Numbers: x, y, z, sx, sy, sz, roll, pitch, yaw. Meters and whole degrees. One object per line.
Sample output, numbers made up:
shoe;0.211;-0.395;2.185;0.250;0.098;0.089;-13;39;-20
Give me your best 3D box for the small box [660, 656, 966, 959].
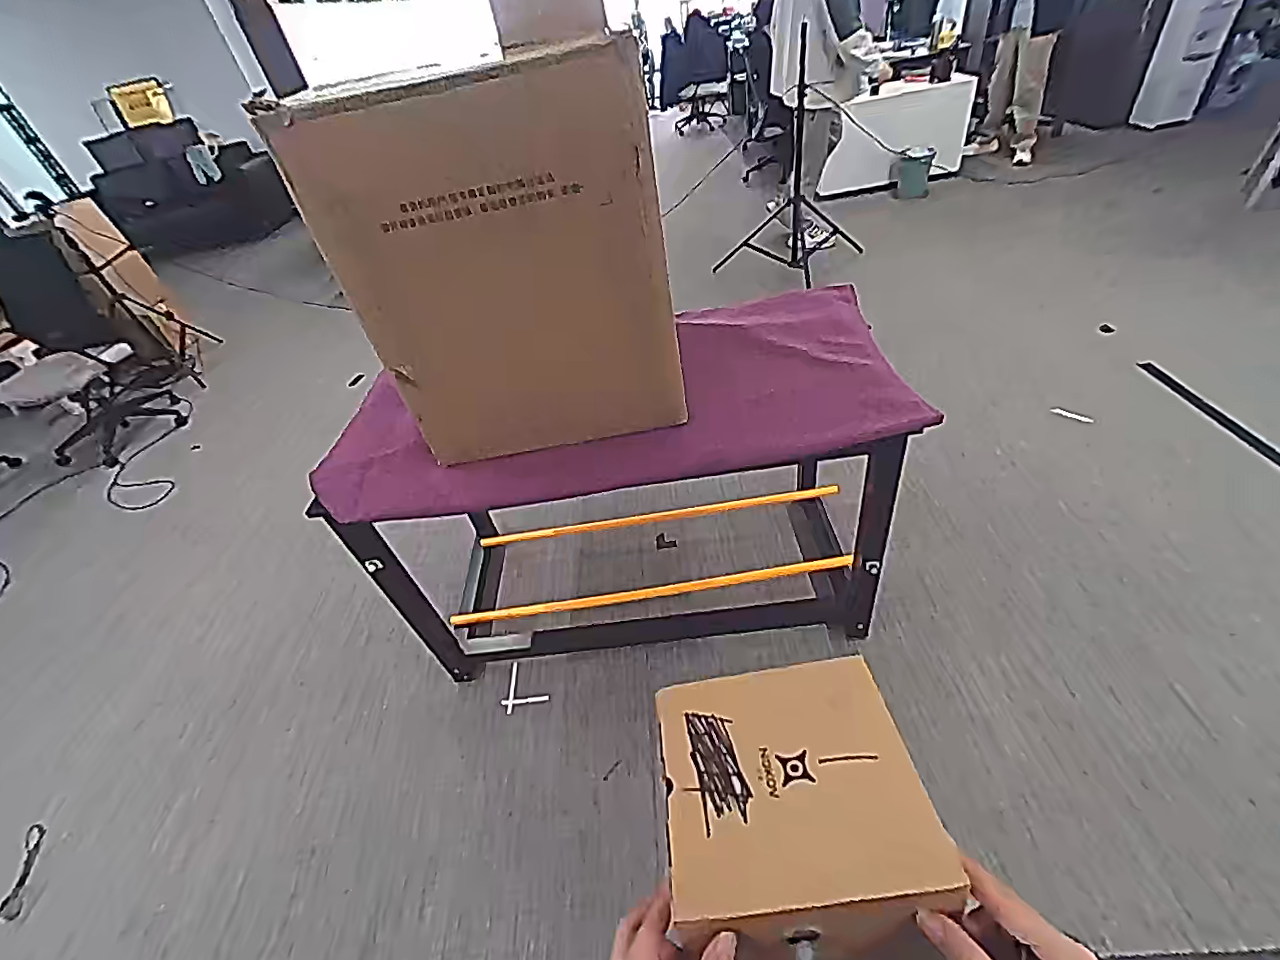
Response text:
small box;0.120;0.271;0.426;0.179;0.176;0.168;-11;32;4
